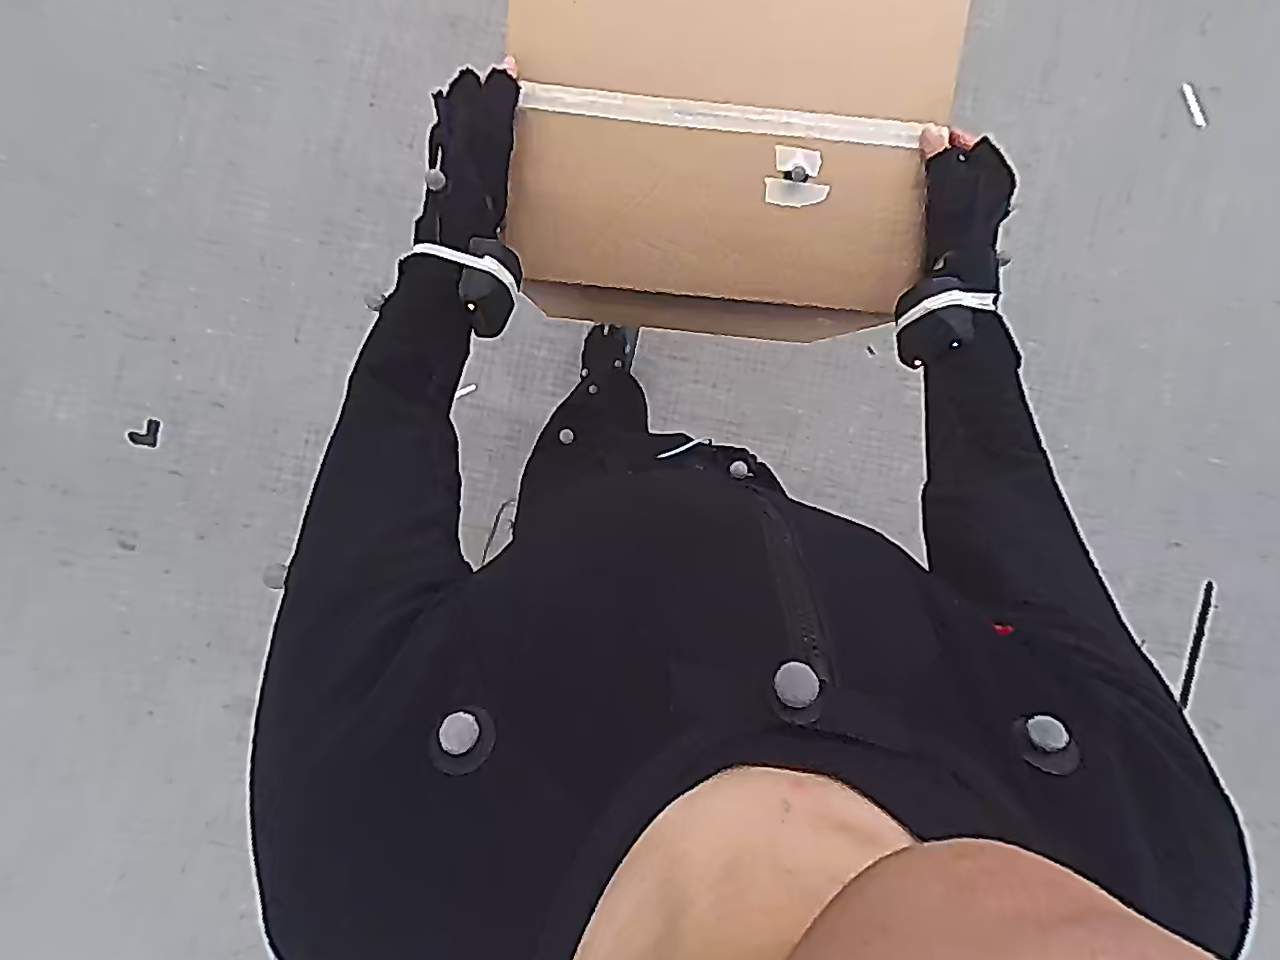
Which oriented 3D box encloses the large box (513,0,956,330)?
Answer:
[{"bbox_3d":[0.077,-0.367,0.651,0.408,0.320,0.320,5,100,-3],"label":"large box"}]
